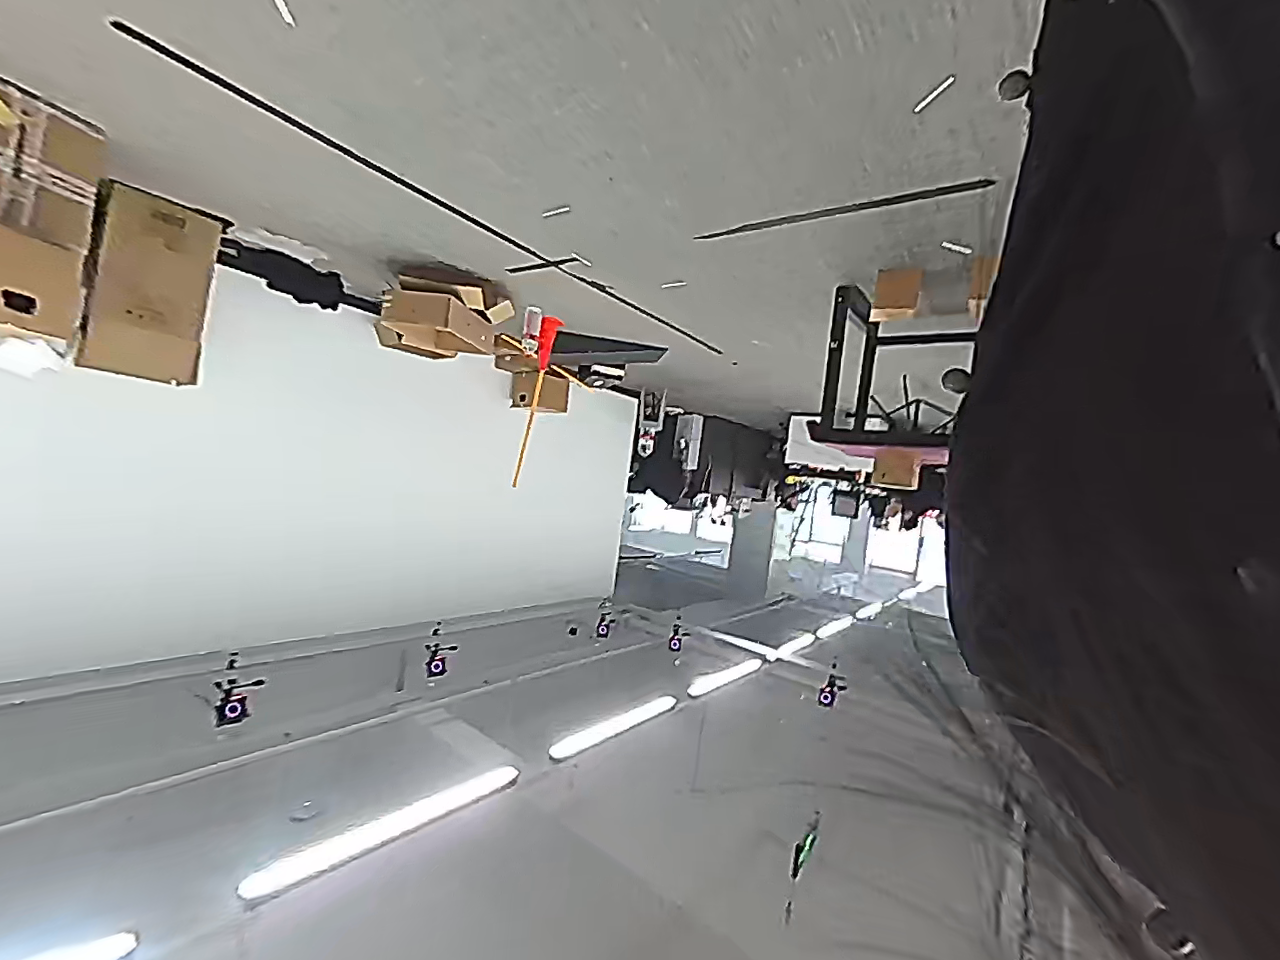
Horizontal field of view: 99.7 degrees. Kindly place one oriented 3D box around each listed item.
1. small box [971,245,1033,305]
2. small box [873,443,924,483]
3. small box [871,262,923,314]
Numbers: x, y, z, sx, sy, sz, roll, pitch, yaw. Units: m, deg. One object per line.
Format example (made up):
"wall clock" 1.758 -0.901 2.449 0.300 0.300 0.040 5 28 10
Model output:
"small box" 1.394 -0.789 2.087 0.179 0.176 0.168 8 -179 33
"small box" 1.208 -0.082 2.520 0.179 0.176 0.168 7 -178 35
"small box" 1.110 -0.828 2.337 0.179 0.176 0.168 6 180 20
